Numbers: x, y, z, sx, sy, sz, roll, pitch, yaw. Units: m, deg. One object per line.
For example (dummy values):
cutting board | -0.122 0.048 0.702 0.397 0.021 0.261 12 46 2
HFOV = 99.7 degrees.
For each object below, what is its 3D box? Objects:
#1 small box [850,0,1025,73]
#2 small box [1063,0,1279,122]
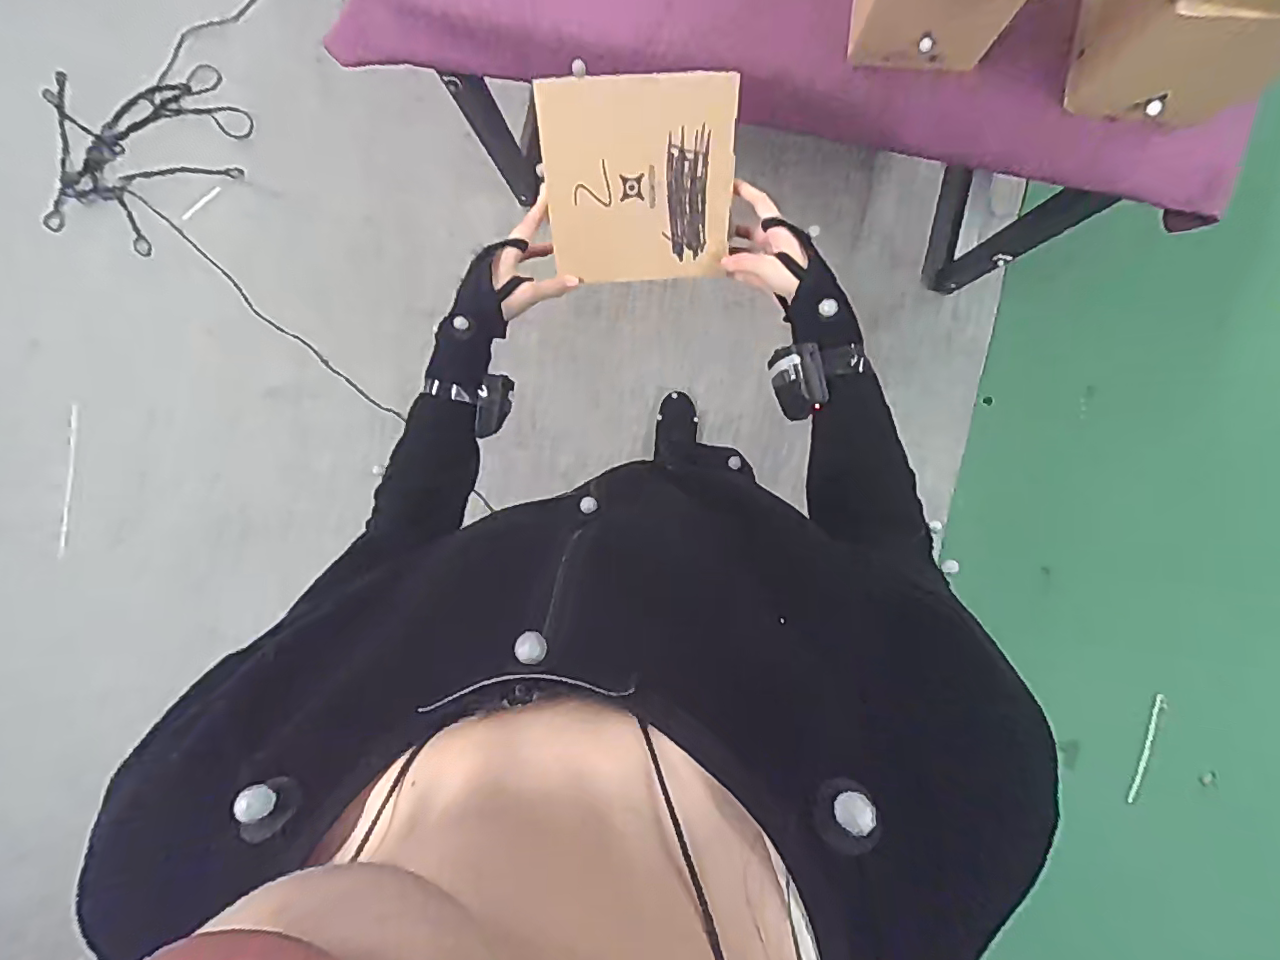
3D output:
small box | 0.361 -0.630 0.634 0.168 0.176 0.179 6 93 4
small box | 0.646 -0.546 0.620 0.179 0.176 0.168 8 94 3
